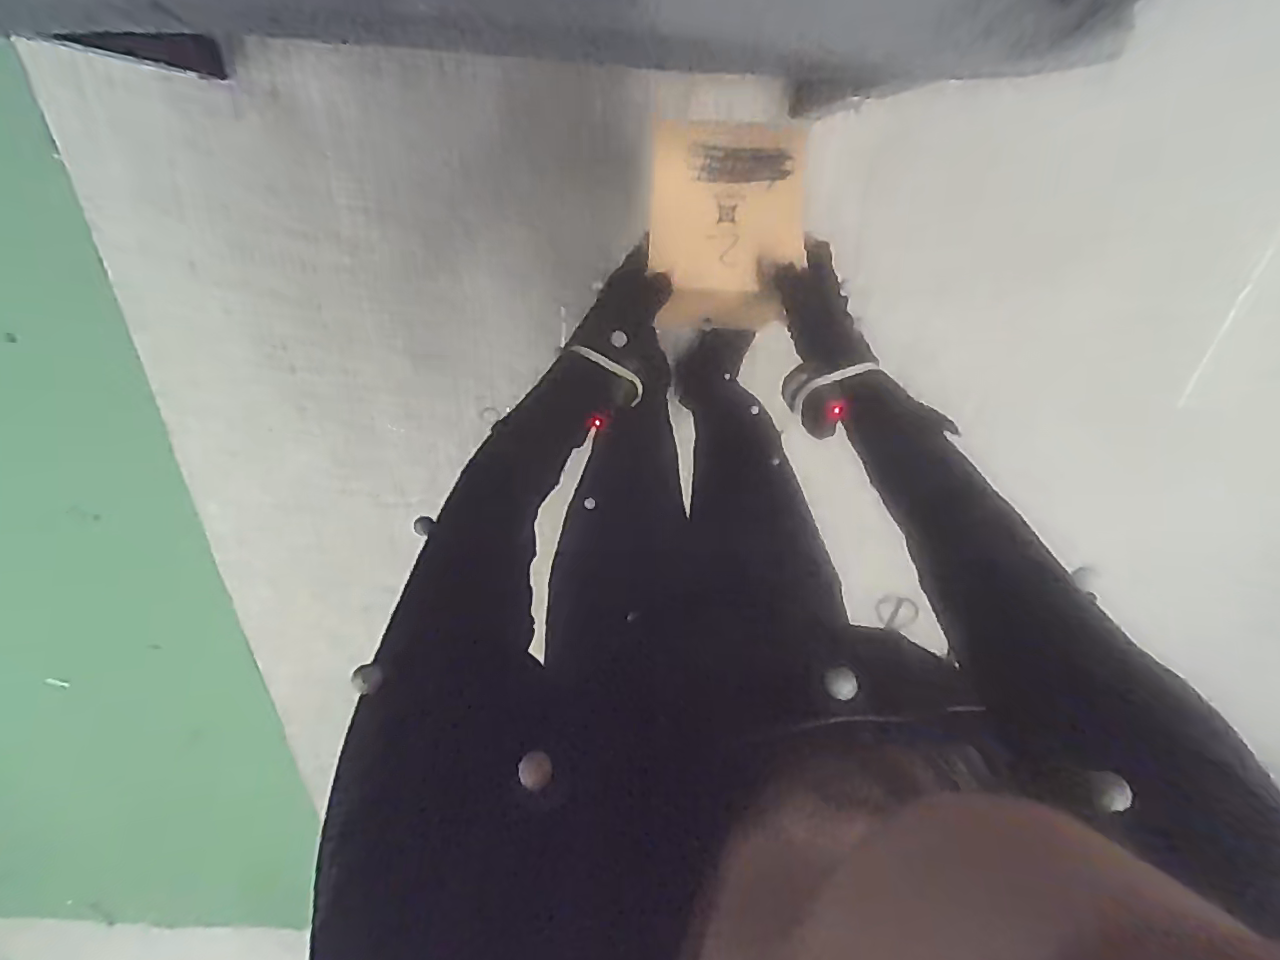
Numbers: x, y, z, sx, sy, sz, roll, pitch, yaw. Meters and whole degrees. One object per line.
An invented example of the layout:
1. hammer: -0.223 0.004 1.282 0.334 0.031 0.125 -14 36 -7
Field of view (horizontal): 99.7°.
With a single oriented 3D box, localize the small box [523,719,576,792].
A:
1. small box: -0.325 0.990 1.948 0.168 0.176 0.179 5 120 -1
